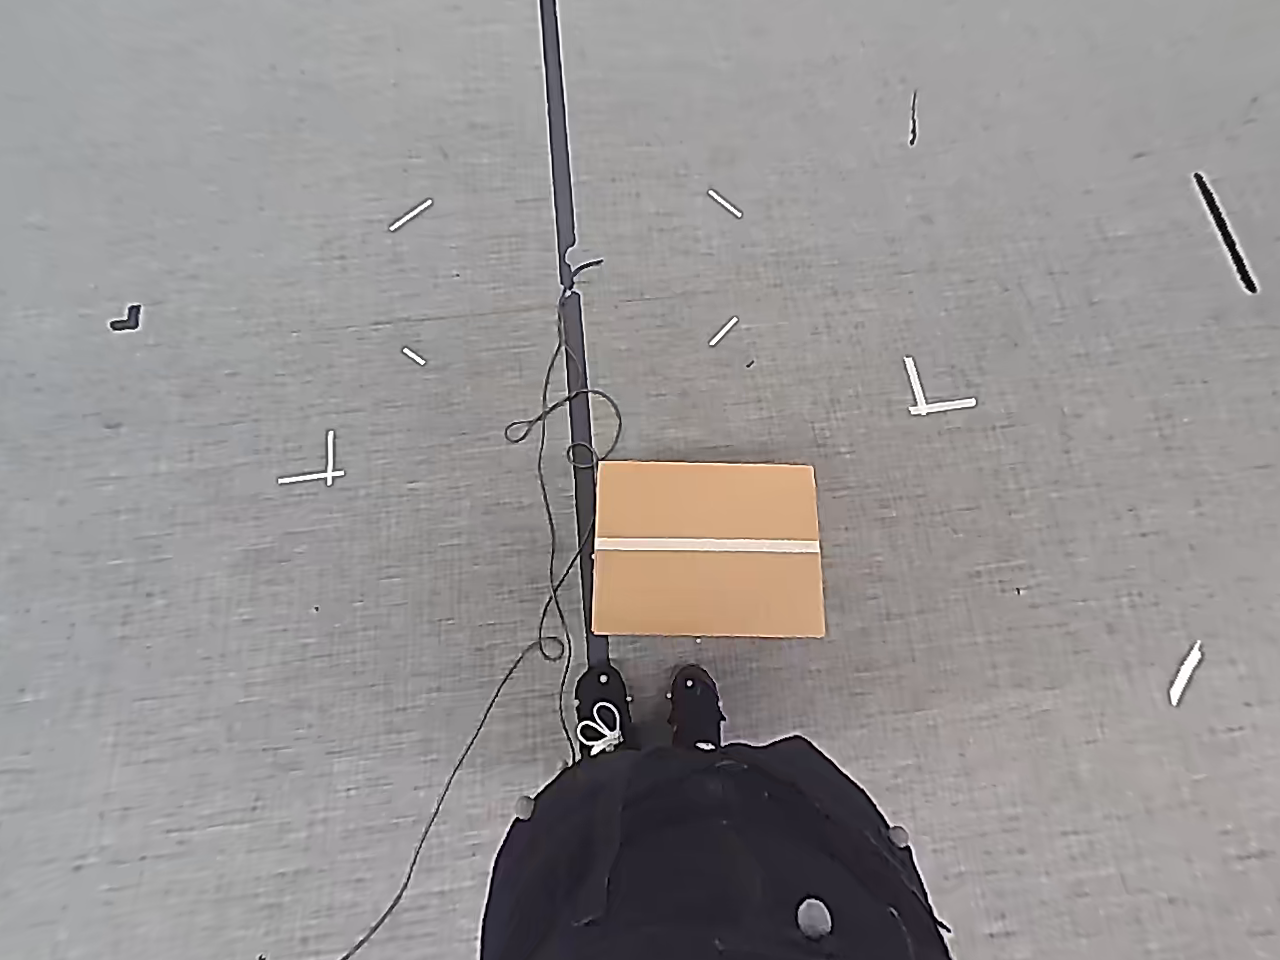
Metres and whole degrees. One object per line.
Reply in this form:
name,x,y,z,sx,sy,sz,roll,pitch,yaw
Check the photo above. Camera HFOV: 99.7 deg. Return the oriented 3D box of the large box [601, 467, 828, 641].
large box,0.125,0.164,1.115,0.408,0.320,0.320,1,76,-1
